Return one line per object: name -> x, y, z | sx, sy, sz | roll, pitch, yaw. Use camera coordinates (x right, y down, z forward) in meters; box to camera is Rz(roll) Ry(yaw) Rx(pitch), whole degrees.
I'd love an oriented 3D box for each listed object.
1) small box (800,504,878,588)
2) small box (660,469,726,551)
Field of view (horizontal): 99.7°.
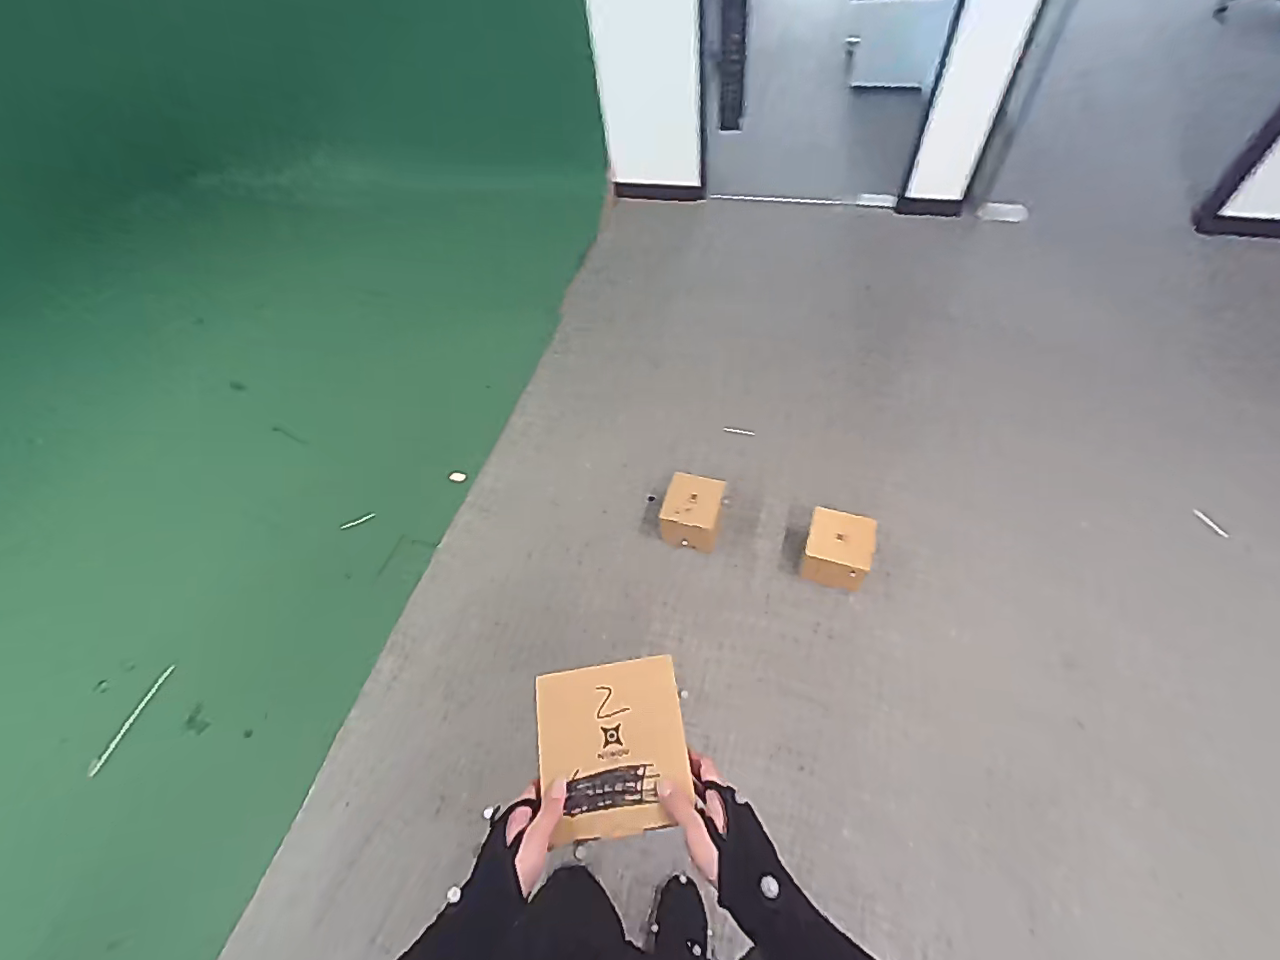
small box -> 0.574, 0.197, 1.576 | 0.179, 0.176, 0.168 | 13, 60, 15
small box -> 0.167, 0.097, 1.691 | 0.168, 0.176, 0.179 | 12, 59, 15
